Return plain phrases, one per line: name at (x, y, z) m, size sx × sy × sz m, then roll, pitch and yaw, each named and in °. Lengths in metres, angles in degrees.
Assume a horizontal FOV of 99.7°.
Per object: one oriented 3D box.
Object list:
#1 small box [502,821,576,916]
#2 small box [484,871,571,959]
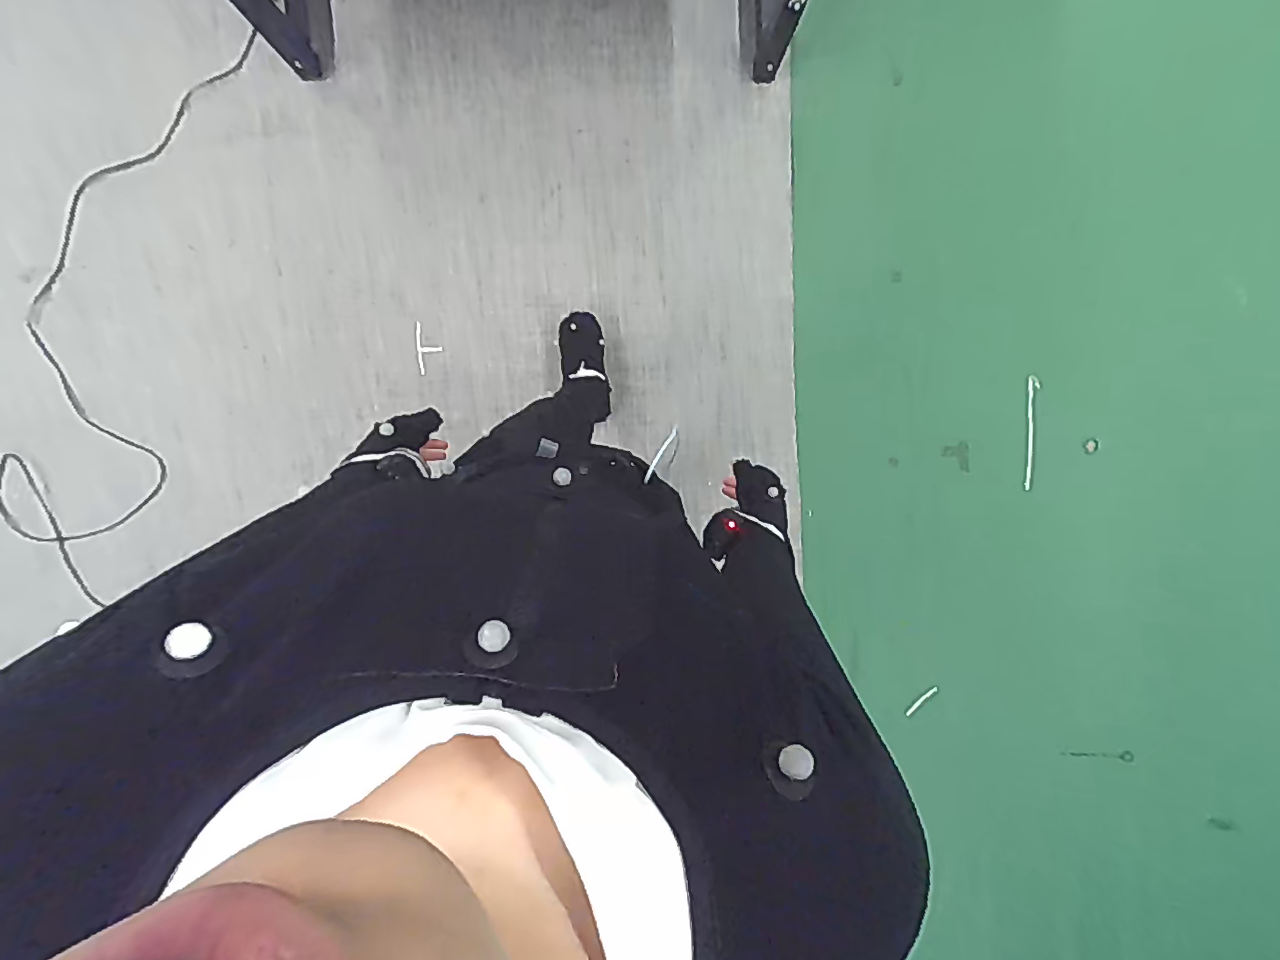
small box at (-0.262, 1.045, 1.430) m, size 0.168 × 0.176 × 0.179 m, roll -3°, pitch 97°, yaw -2°
small box at (-0.256, 1.066, 1.269) m, size 0.168 × 0.176 × 0.179 m, roll -4°, pitch 97°, yaw -1°
